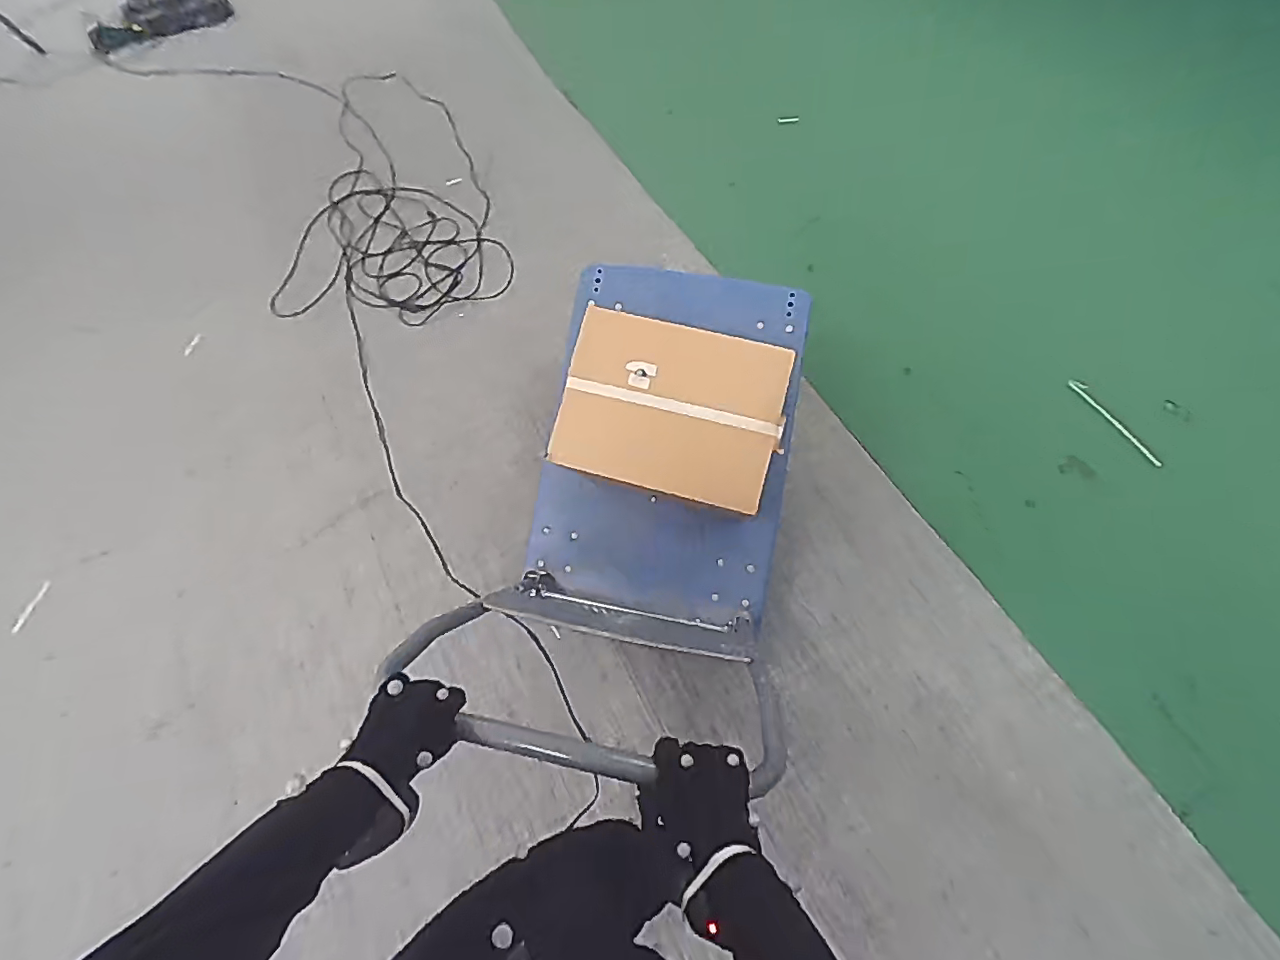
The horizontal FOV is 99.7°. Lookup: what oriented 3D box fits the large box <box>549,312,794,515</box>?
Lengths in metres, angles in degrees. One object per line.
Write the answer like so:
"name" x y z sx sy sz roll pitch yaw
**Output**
"large box" 0.076 -0.118 1.143 0.408 0.320 0.320 15 87 9
